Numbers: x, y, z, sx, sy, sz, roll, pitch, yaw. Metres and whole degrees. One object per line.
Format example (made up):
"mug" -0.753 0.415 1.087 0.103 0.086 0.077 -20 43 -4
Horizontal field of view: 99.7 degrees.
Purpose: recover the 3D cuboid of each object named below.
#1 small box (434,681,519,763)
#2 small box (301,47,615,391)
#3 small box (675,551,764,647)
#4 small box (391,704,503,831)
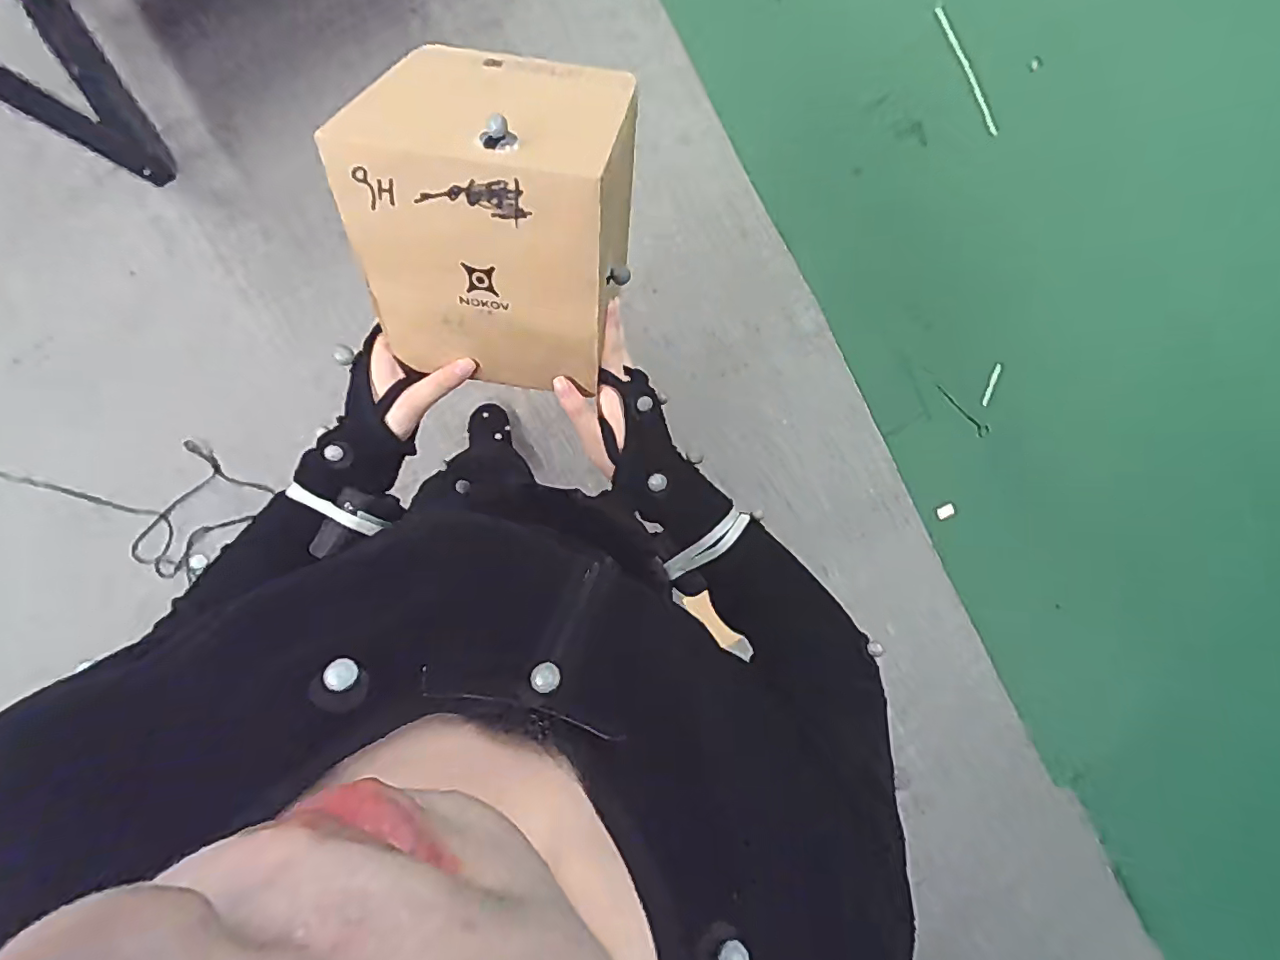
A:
"small box" -0.443 0.678 1.462 0.179 0.176 0.168 -31 94 1
"small box" -0.114 -0.200 0.428 0.168 0.179 0.176 8 54 1
"small box" 0.203 0.313 1.455 0.179 0.176 0.168 -30 95 1
"small box" -0.449 0.678 1.300 0.179 0.176 0.168 -36 94 2
